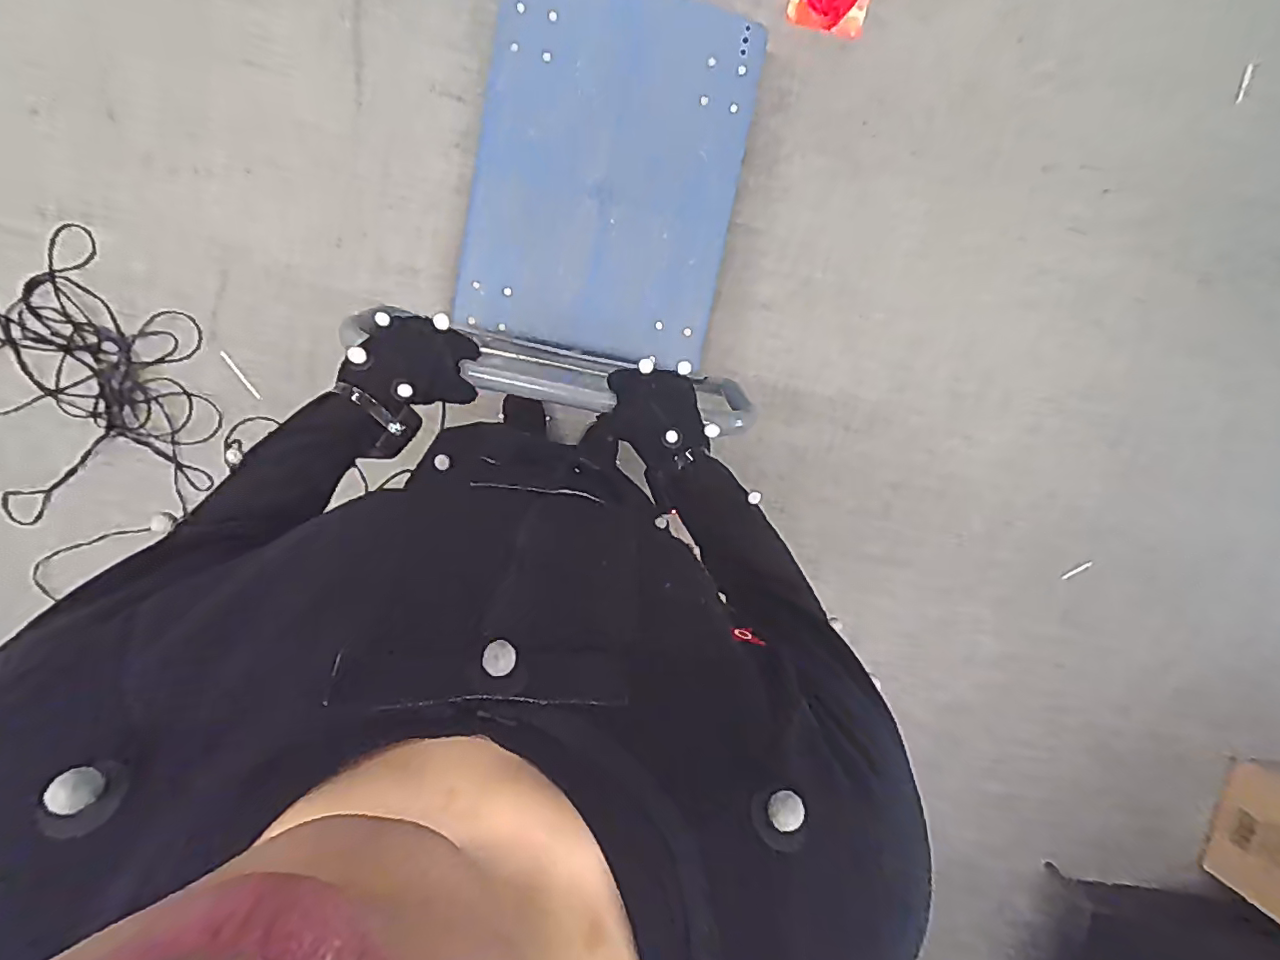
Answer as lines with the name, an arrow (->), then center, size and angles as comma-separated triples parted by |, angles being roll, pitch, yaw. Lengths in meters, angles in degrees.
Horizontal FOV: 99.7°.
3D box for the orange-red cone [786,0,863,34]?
orange-red cone -> 0.487, -1.221, 1.189 | 0.199, 0.360, 0.198 | 11, 97, -5
